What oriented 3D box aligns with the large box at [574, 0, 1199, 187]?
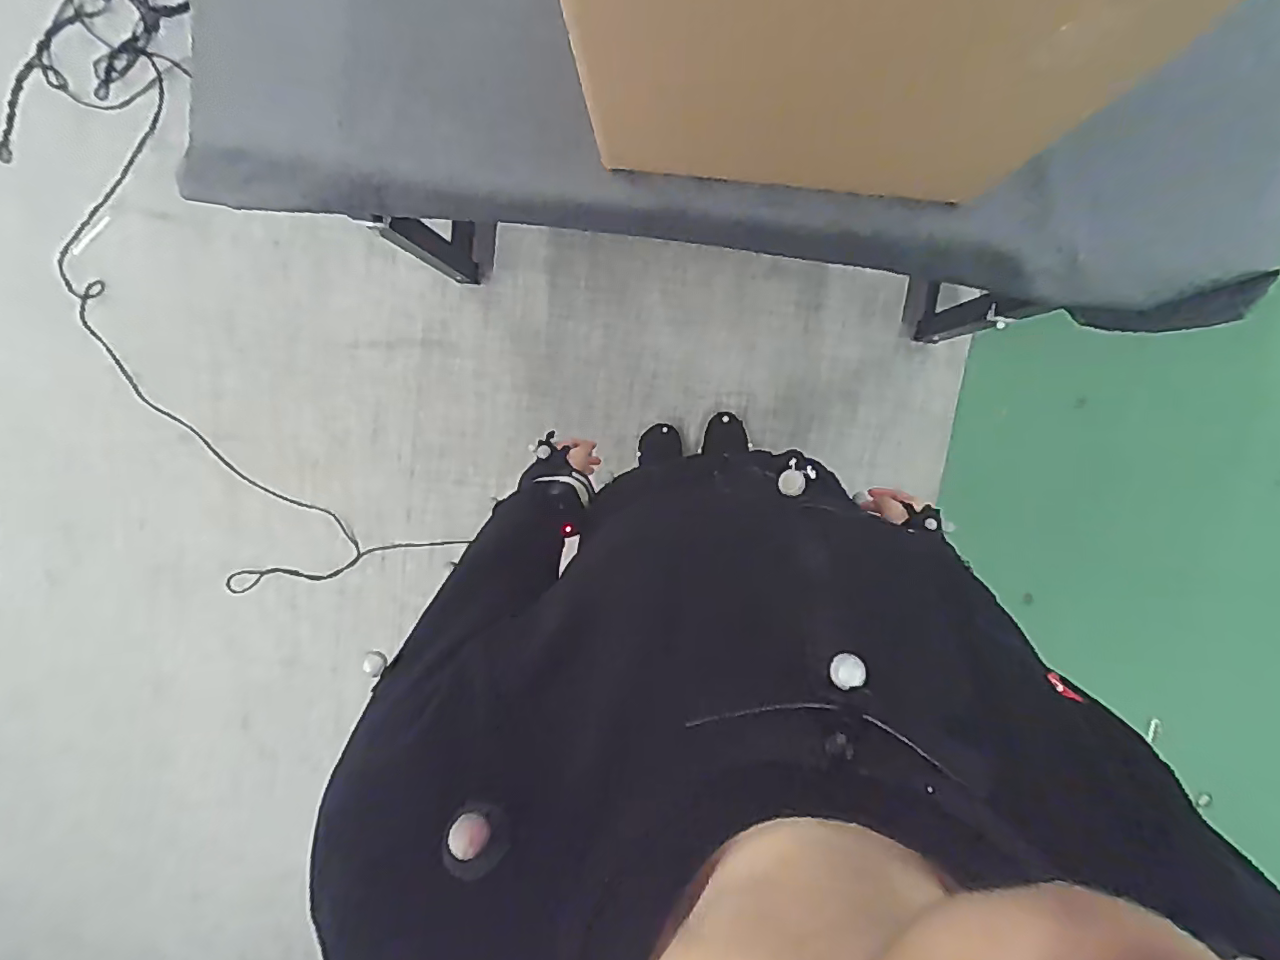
[{"bbox_3d":[0.164,-0.468,0.430,0.408,0.320,0.320,6,97,1],"label":"large box"}]
